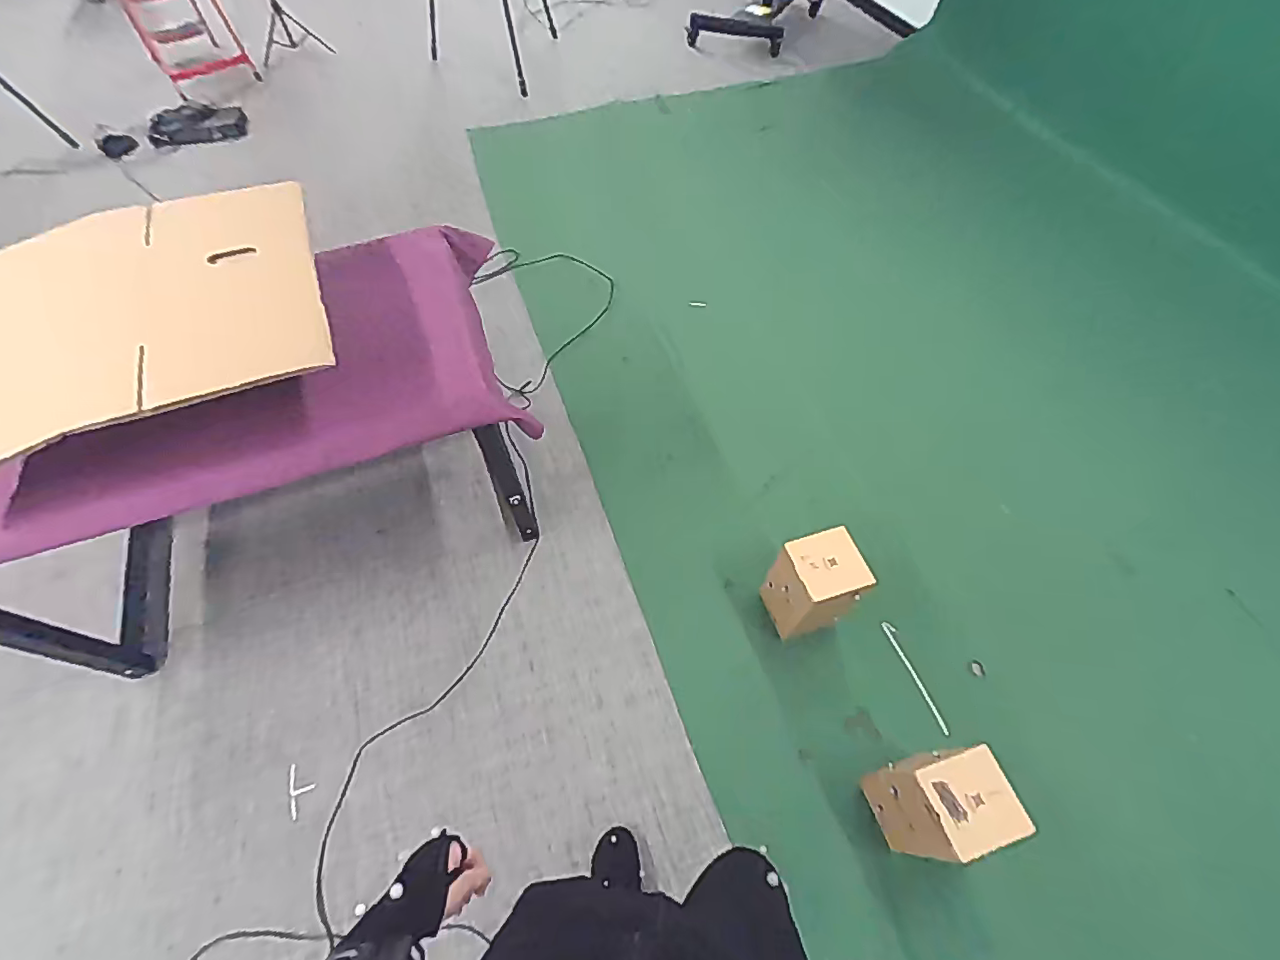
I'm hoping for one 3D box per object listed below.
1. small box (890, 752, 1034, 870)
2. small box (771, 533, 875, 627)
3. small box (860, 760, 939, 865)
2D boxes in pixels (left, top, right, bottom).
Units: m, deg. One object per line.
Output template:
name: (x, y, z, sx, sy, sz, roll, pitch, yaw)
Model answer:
small box: (0.658, 0.693, 1.137, 0.179, 0.176, 0.168, -15, 60, -9)
small box: (0.464, 0.262, 1.403, 0.179, 0.176, 0.168, -15, 58, -9)
small box: (0.658, 0.778, 1.277, 0.179, 0.176, 0.168, -16, 60, -9)
